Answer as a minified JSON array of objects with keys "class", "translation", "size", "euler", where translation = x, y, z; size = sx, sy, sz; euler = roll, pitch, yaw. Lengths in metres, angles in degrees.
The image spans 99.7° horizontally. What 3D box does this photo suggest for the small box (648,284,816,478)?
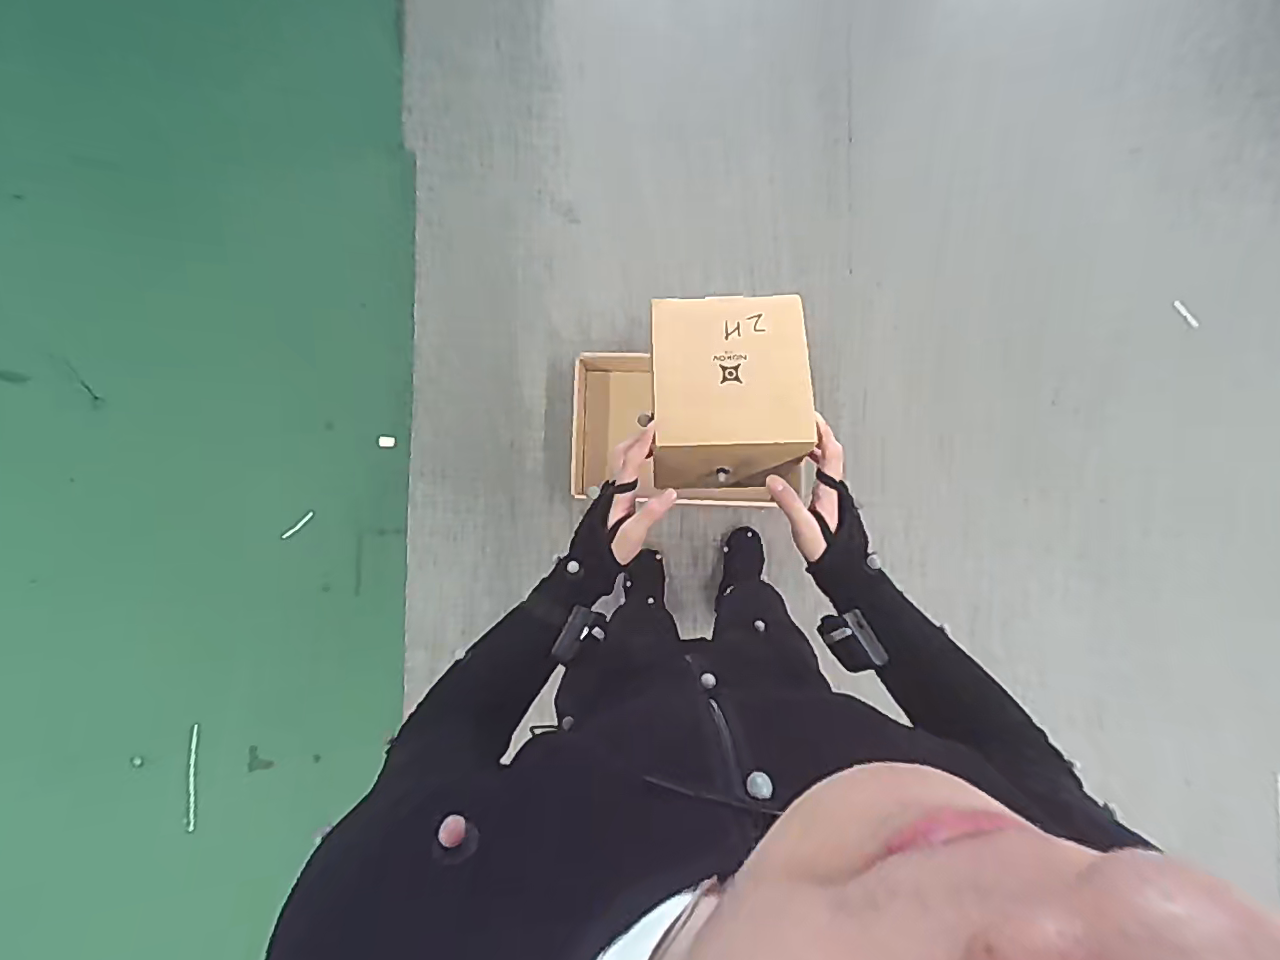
[{"class":"small box","translation":[0.094,-0.102,0.631],"size":[0.168,0.176,0.179],"euler":[-1,74,0]}]
